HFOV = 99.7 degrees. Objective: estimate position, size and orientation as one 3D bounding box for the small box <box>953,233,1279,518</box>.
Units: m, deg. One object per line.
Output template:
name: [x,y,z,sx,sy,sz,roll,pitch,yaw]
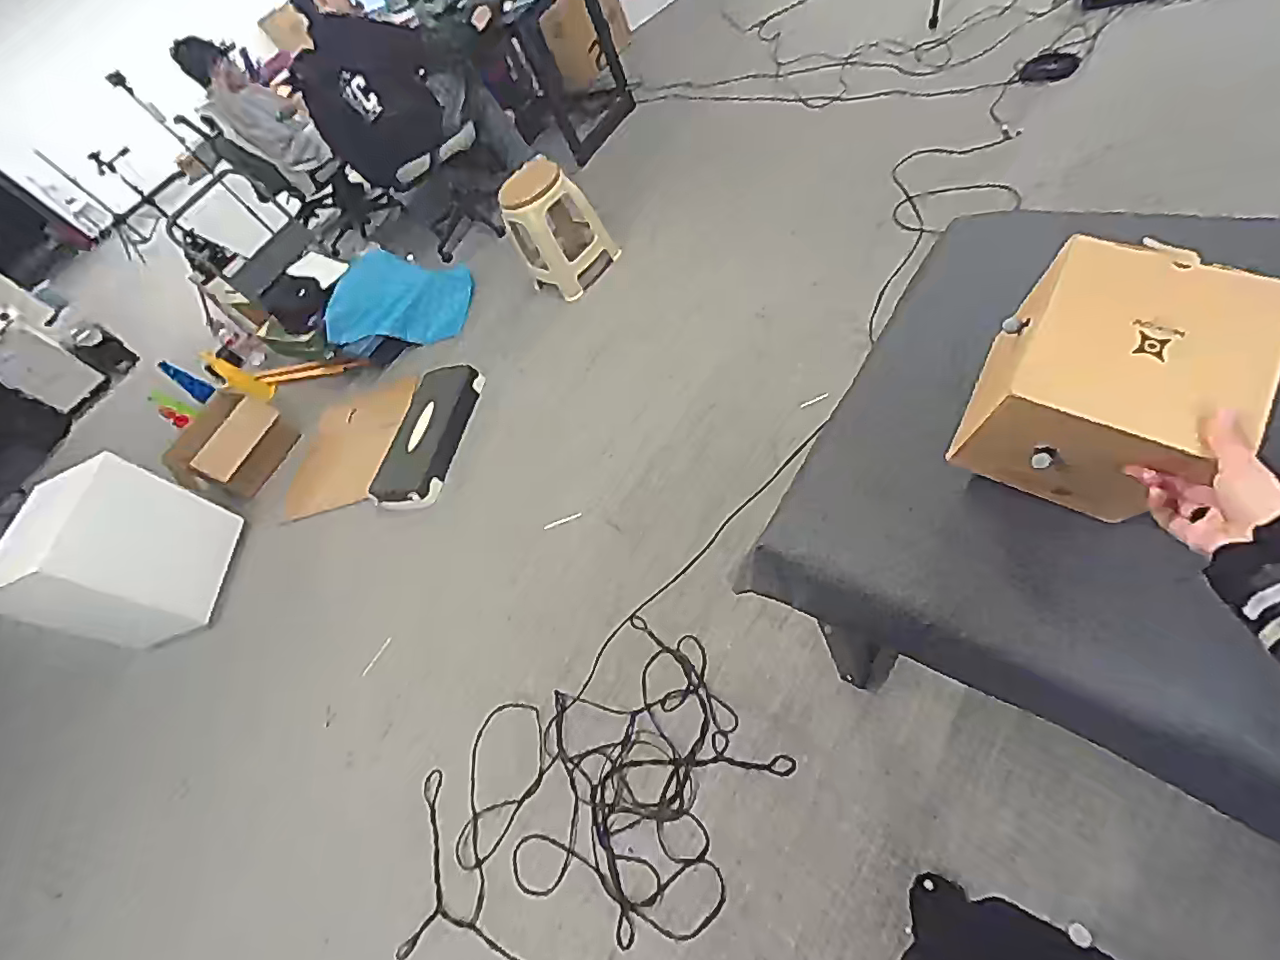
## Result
small box: [0.424,-0.085,0.507,0.168,0.176,0.179,26,77,19]
